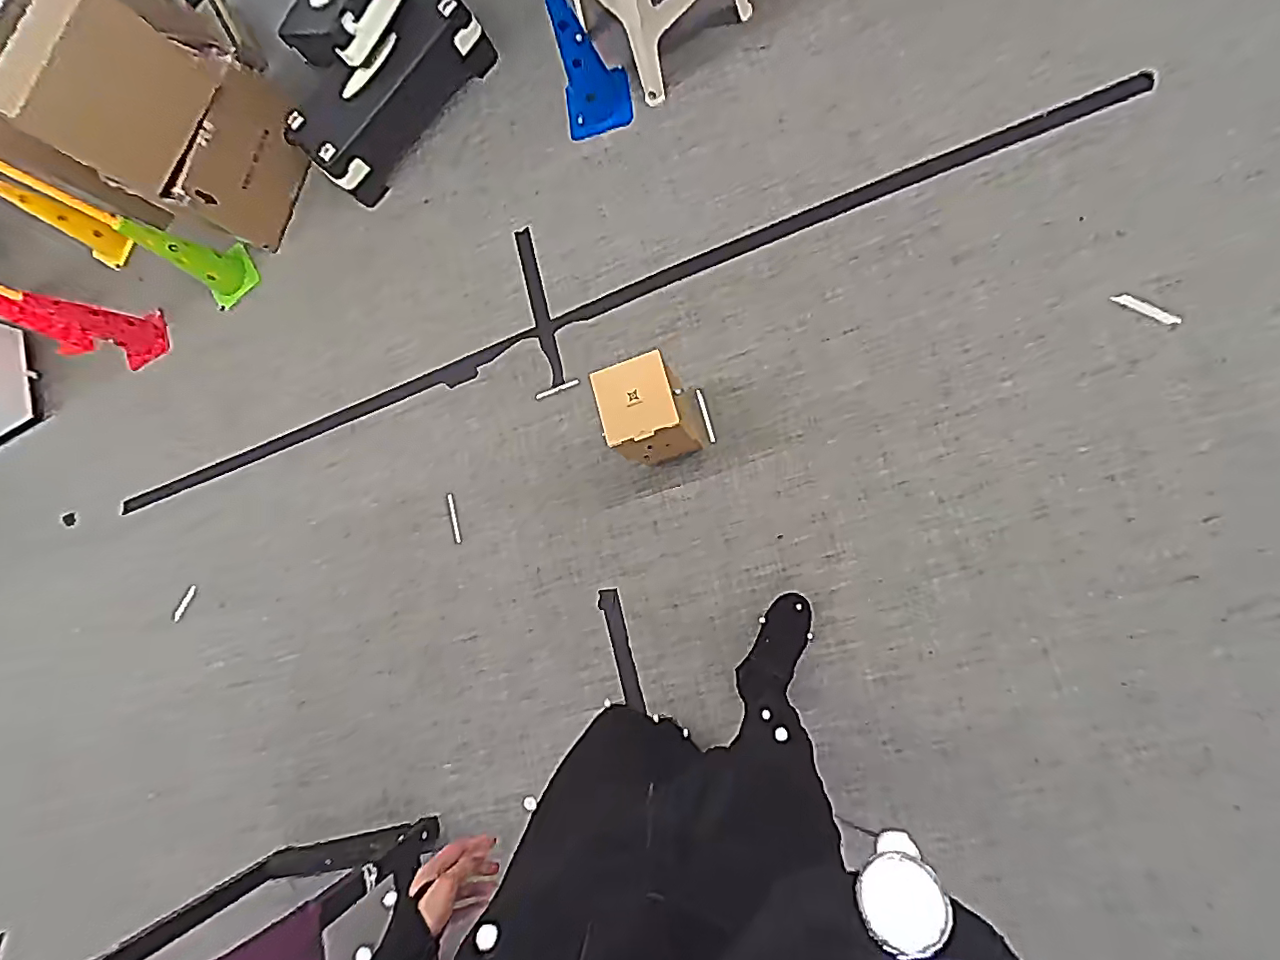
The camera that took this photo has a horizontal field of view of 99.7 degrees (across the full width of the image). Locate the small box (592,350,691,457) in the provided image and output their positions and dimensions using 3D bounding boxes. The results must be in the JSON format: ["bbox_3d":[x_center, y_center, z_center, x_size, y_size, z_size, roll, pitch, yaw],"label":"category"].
[{"bbox_3d":[0.009,-0.167,1.240,0.168,0.176,0.179,-18,79,12],"label":"small box"}]
